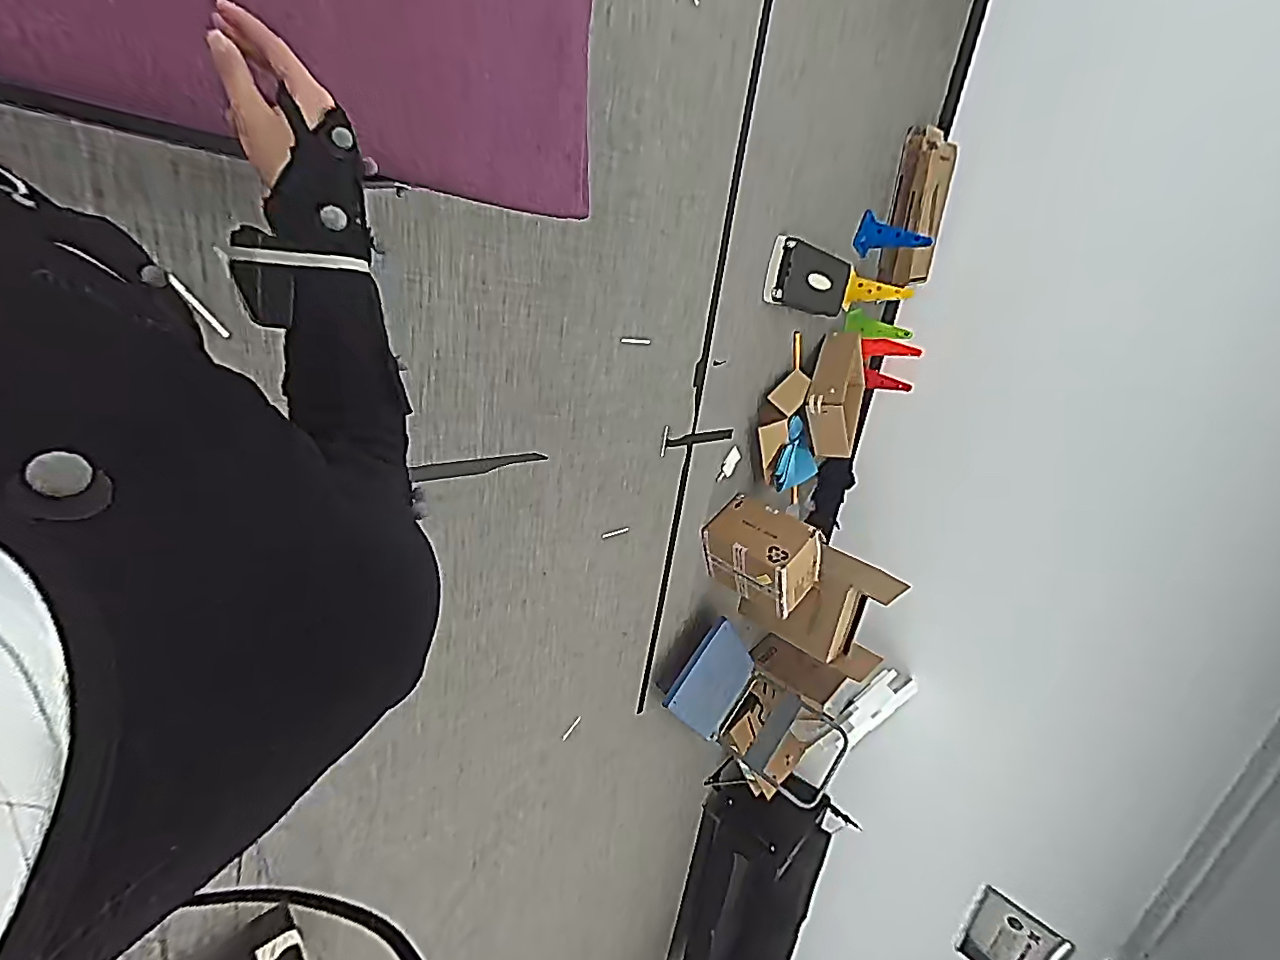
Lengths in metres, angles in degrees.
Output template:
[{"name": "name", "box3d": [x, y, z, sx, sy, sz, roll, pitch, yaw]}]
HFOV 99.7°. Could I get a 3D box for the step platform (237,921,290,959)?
[{"name": "step platform", "box3d": [-1.312, 1.558, 1.429, 0.684, 0.204, 0.286, -13, 119, -47]}]
